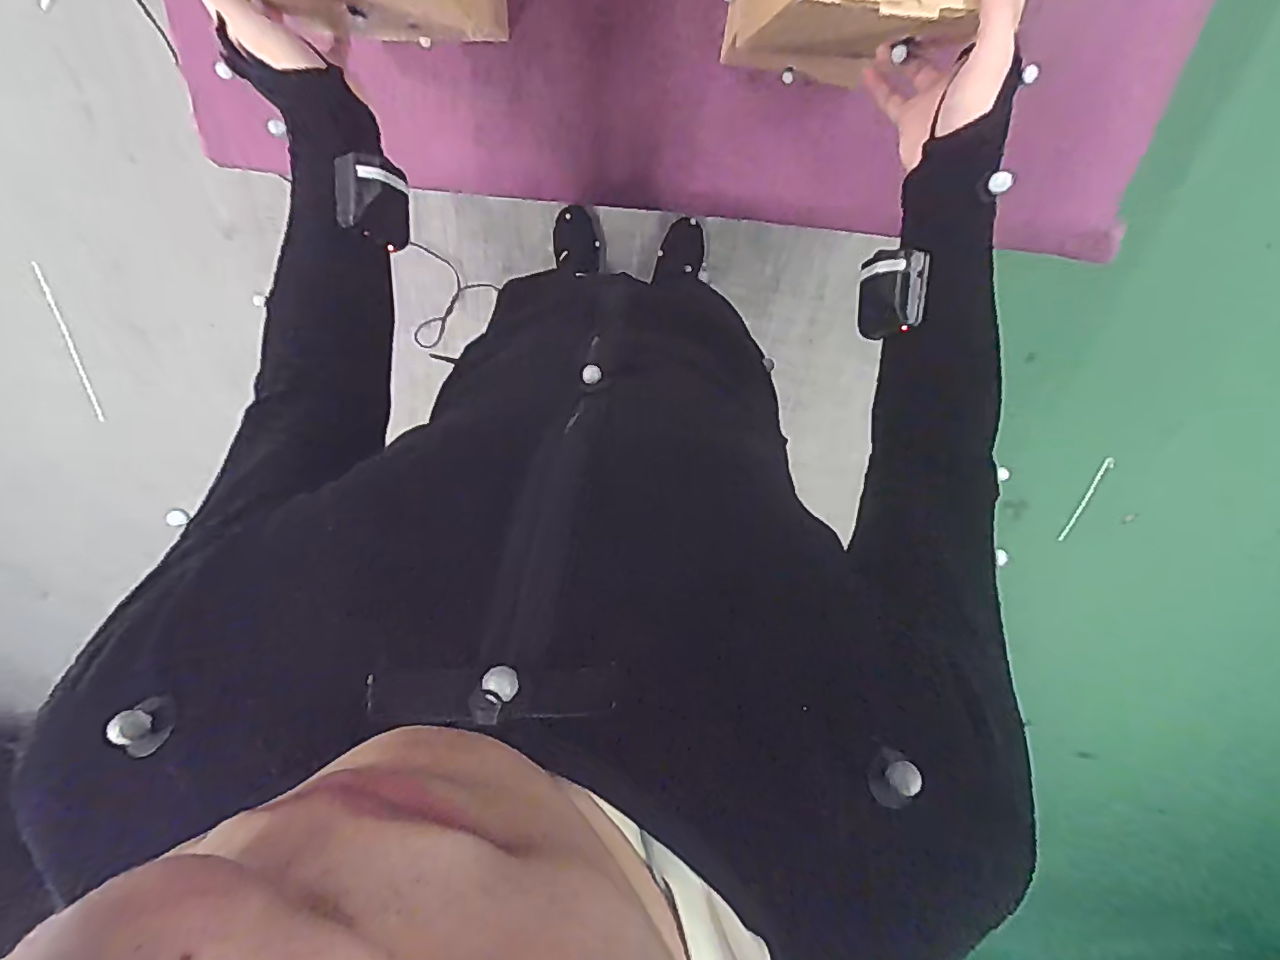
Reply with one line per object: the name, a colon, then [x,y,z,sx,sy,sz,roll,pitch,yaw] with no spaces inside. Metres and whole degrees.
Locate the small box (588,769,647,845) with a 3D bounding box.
small box: [-0.077,1.155,1.916,0.179,0.176,0.168,12,119,-6]

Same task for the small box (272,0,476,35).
small box: [-0.229,-0.459,0.391,0.168,0.176,0.179,1,117,0]

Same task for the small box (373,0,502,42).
small box: [-0.242,-0.563,0.532,0.168,0.176,0.179,2,119,1]

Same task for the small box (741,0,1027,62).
small box: [0.180,-0.430,0.393,0.168,0.176,0.179,0,118,-7]
